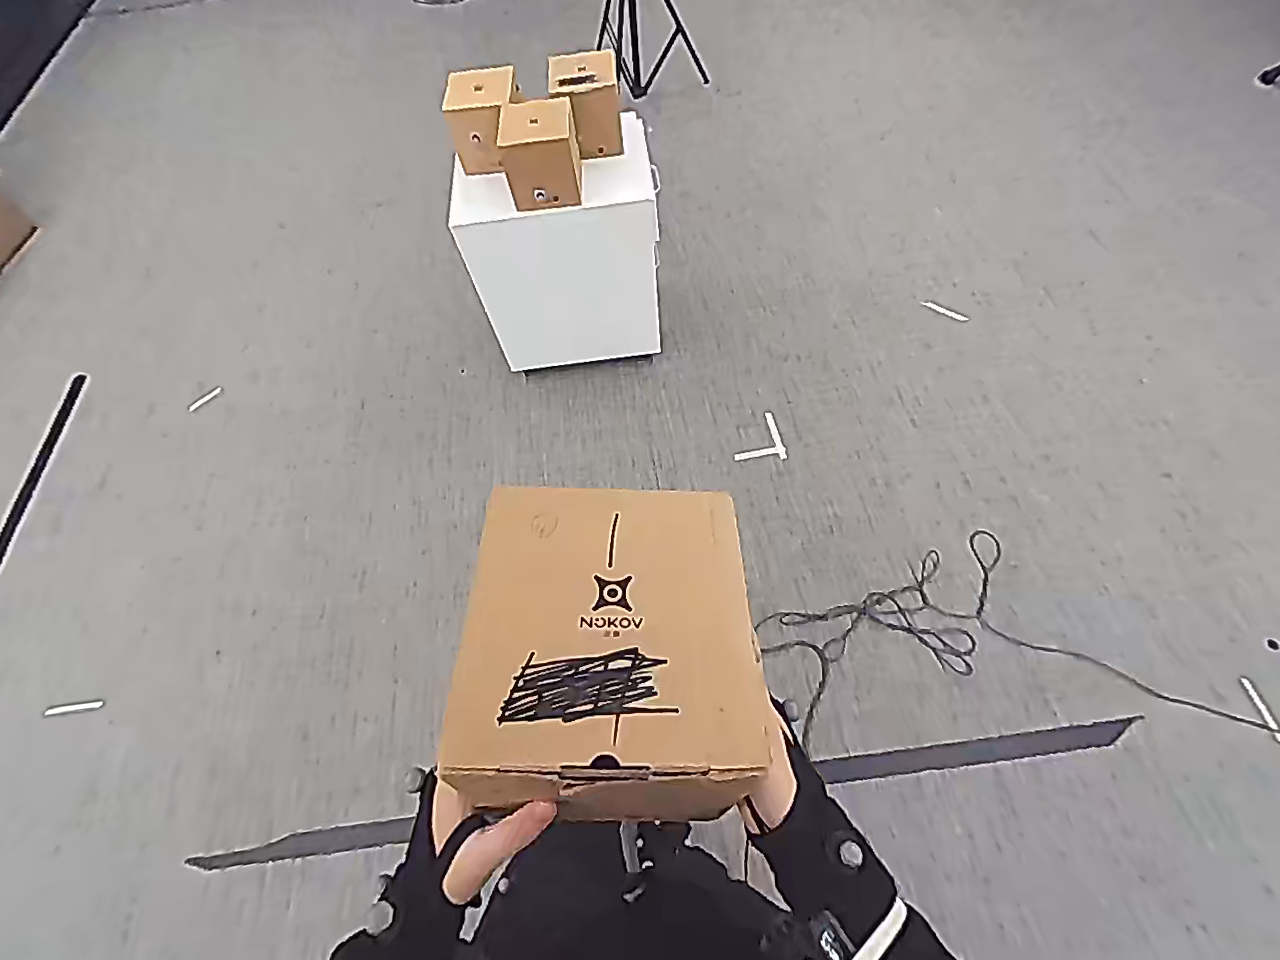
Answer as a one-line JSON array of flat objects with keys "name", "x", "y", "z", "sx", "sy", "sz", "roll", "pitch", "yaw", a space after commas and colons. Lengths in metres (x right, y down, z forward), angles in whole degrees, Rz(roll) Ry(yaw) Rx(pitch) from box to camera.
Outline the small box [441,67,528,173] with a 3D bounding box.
[{"name": "small box", "x": -0.391, "y": -0.915, "z": 1.390, "sx": 0.168, "sy": 0.176, "sz": 0.179, "roll": -5, "pitch": 61, "yaw": 2}]
